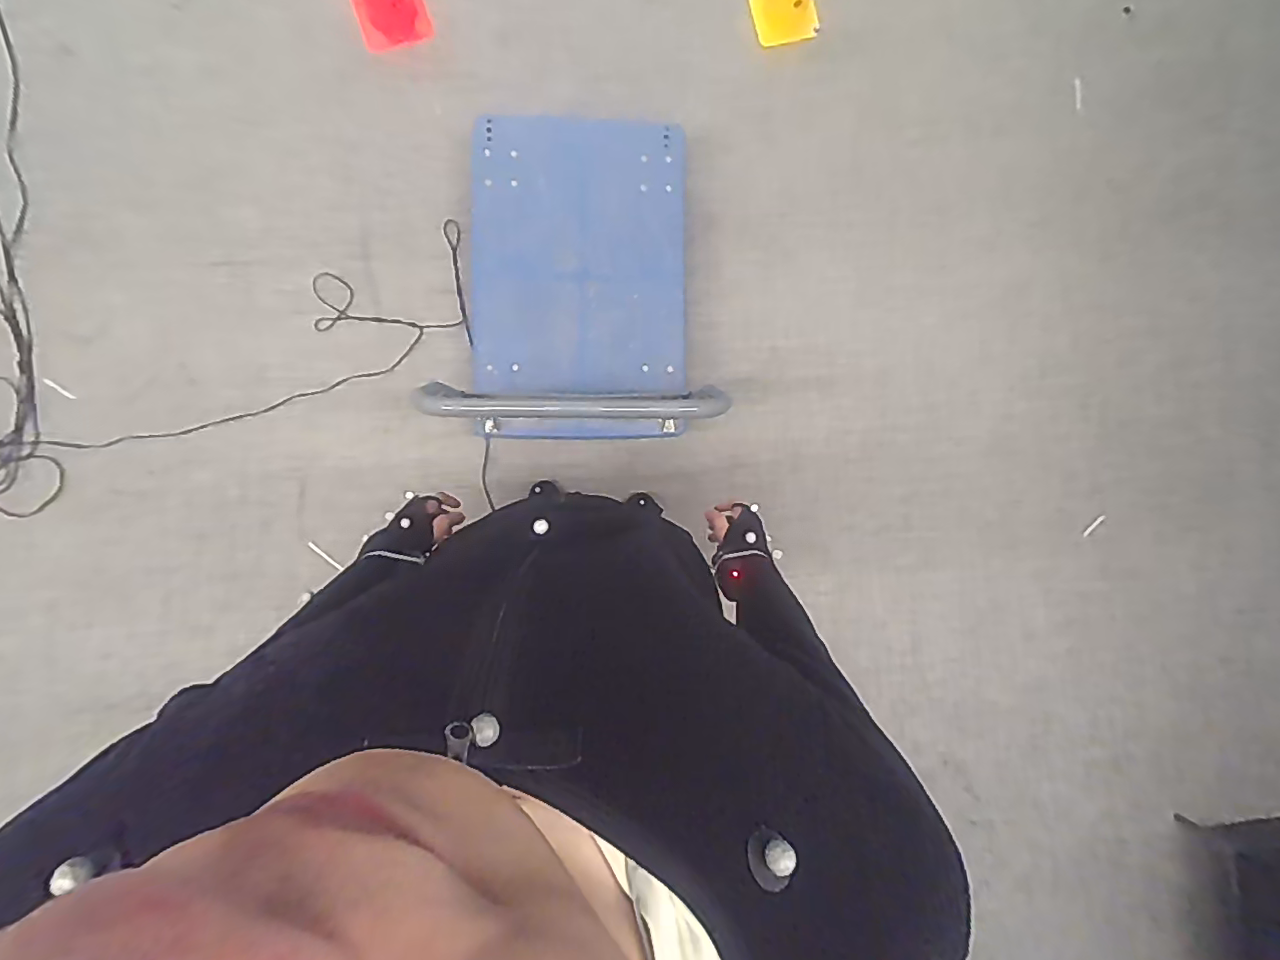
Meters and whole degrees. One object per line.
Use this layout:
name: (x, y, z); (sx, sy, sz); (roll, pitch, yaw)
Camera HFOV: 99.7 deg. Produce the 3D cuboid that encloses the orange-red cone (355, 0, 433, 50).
orange-red cone: (-0.720, -1.383, 1.426); (0.199, 0.360, 0.198); (-18, 90, -2)
